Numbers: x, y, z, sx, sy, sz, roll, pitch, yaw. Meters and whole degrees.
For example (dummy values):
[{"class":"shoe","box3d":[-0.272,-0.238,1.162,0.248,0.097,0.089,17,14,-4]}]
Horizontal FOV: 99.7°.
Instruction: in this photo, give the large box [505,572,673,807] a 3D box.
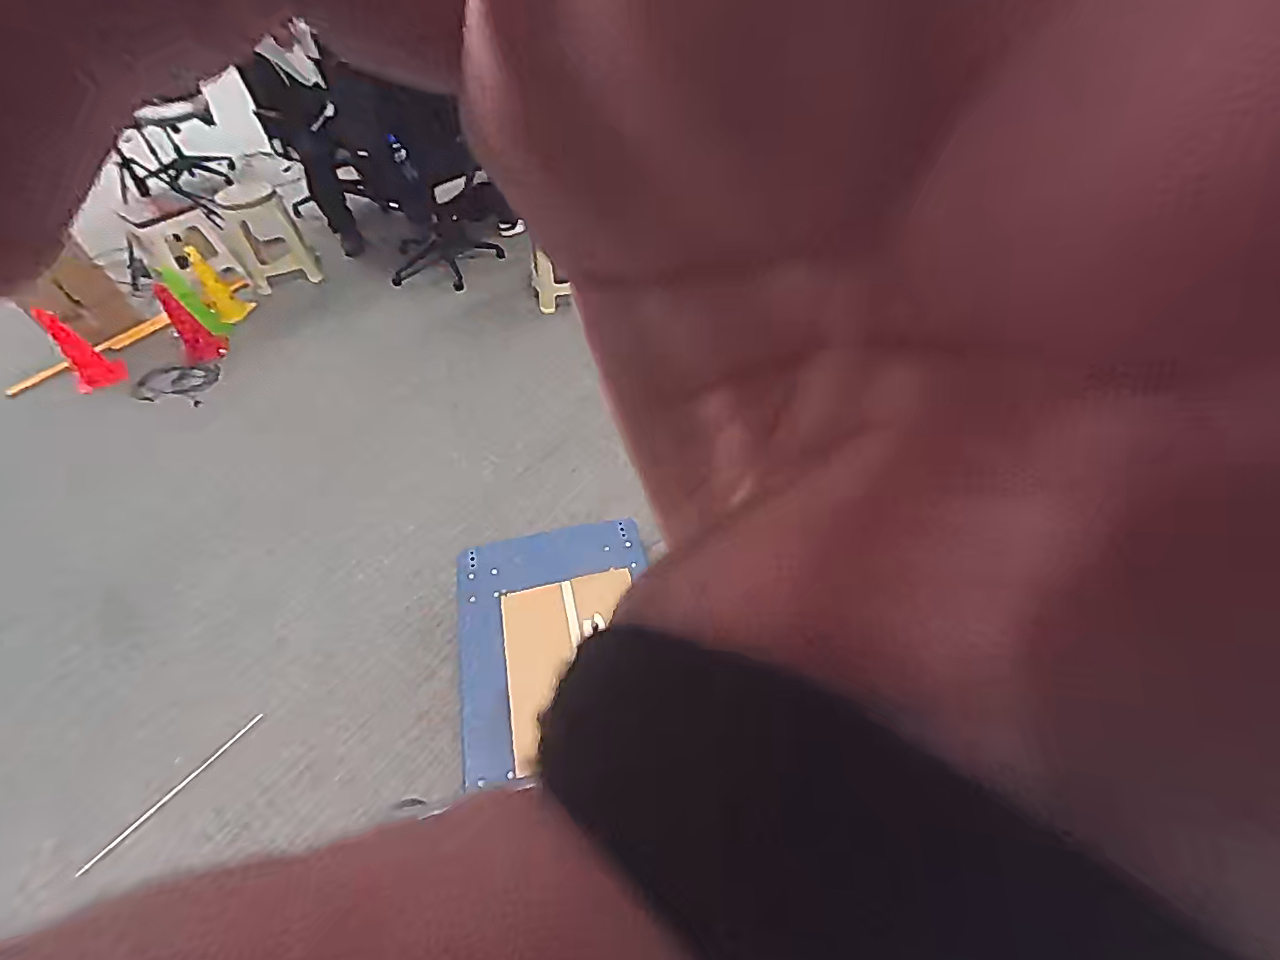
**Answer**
[{"class":"large box","box3d":[-0.124,0.499,1.305,0.320,0.320,0.408,-10,49,-9]}]
